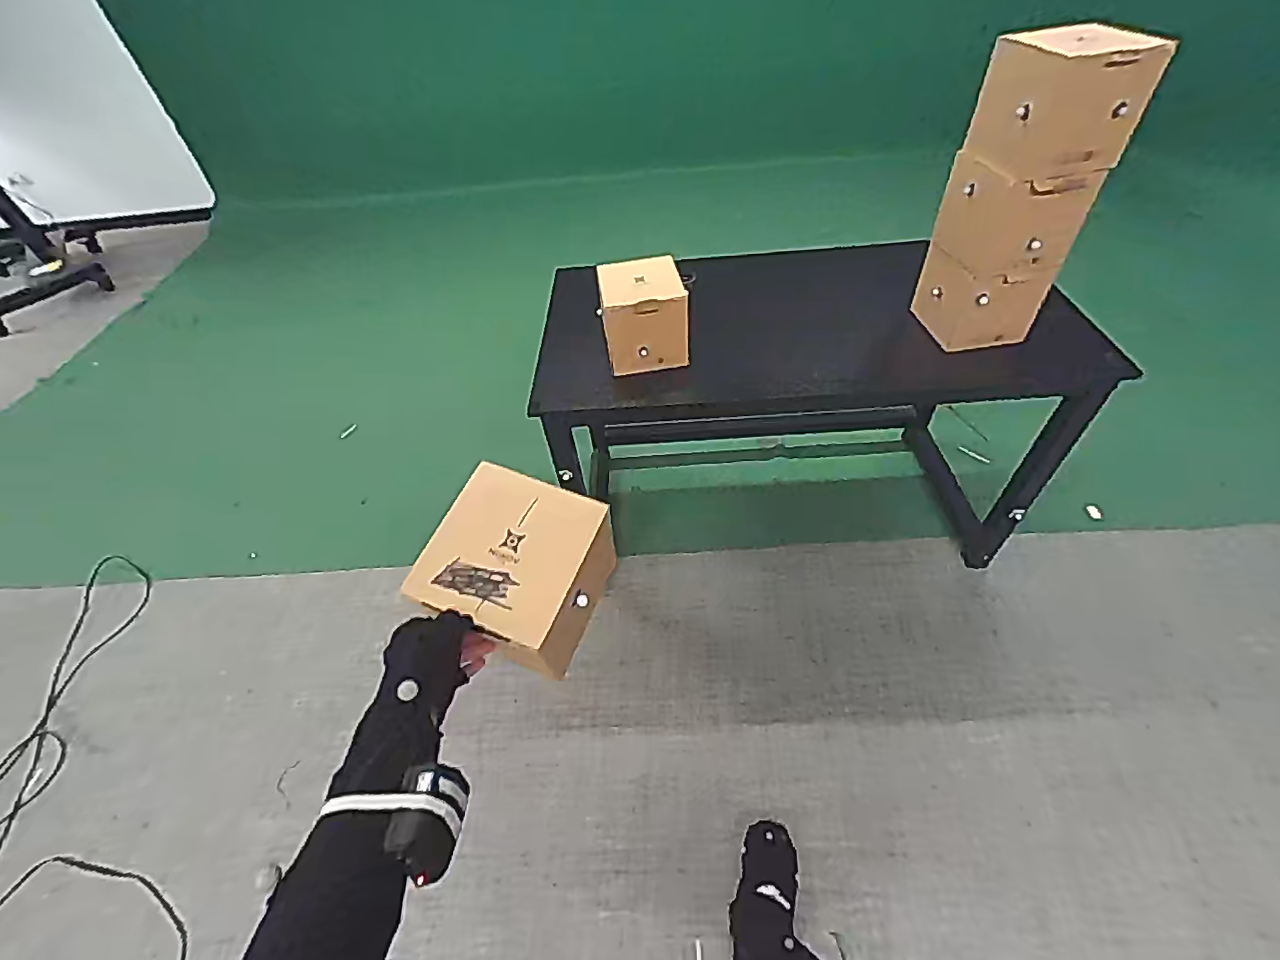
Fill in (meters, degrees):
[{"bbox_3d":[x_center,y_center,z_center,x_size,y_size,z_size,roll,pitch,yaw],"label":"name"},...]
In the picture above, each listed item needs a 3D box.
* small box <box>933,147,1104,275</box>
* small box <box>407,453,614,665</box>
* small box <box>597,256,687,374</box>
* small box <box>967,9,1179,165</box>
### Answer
[{"bbox_3d":[0.680,-0.504,1.002,0.168,0.176,0.179,-10,48,-1],"label":"small box"},{"bbox_3d":[-0.136,0.103,0.652,0.168,0.176,0.179,19,62,11],"label":"small box"},{"bbox_3d":[0.003,-0.355,1.166,0.168,0.176,0.179,-9,50,-3],"label":"small box"},{"bbox_3d":[0.672,-0.624,0.868,0.168,0.176,0.179,-9,47,-2],"label":"small box"}]
